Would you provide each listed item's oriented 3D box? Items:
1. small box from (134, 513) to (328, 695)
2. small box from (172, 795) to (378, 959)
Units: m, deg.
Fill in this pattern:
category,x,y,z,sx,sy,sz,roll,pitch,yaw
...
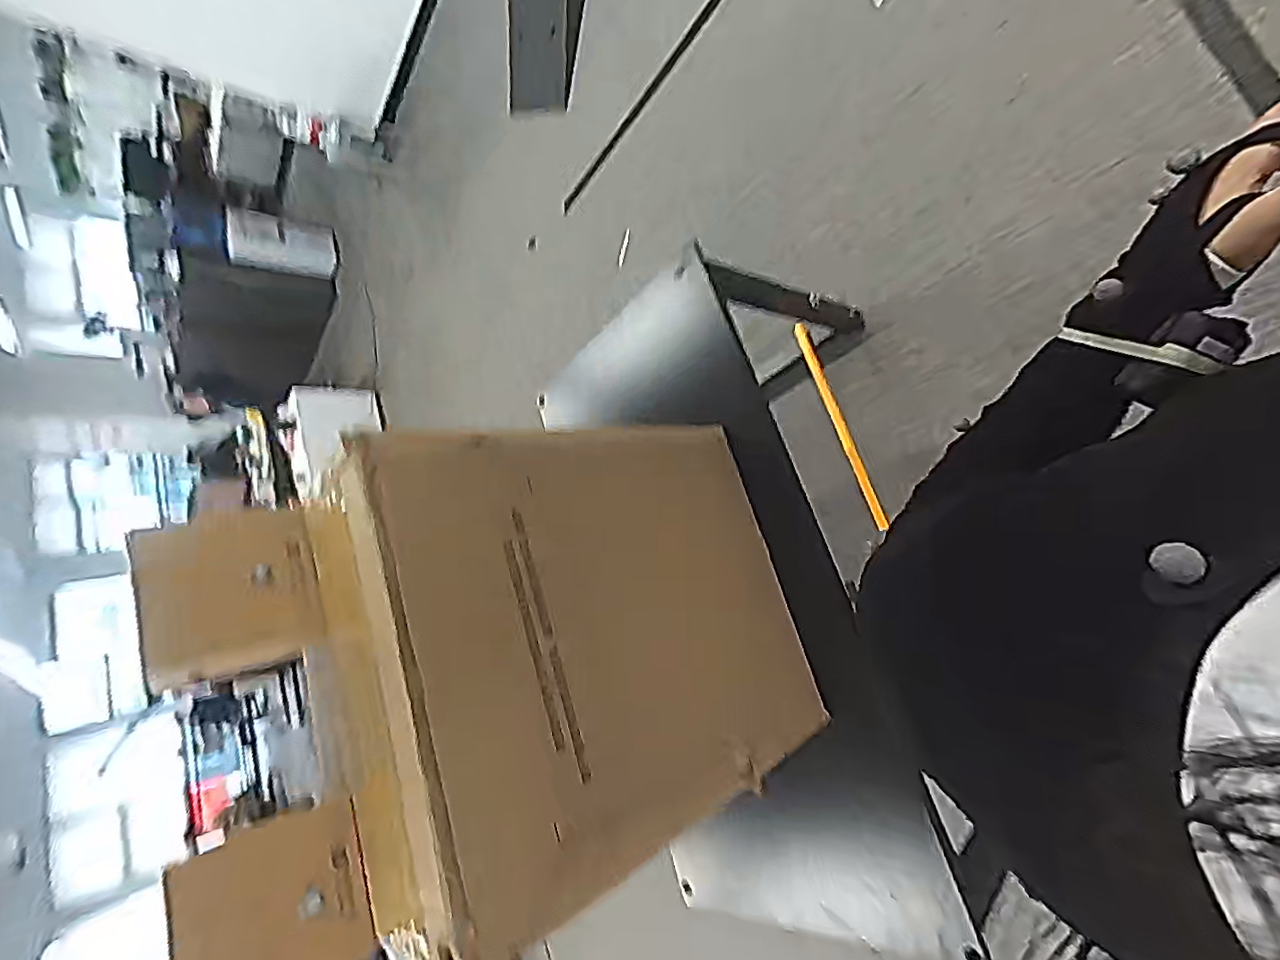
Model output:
category,x,y,z,sx,sy,sz,roll,pitch,yaw
small box,-0.508,0.153,0.680,0.179,0.176,0.168,-34,71,45
small box,-0.412,0.482,0.611,0.179,0.176,0.168,-40,64,42
